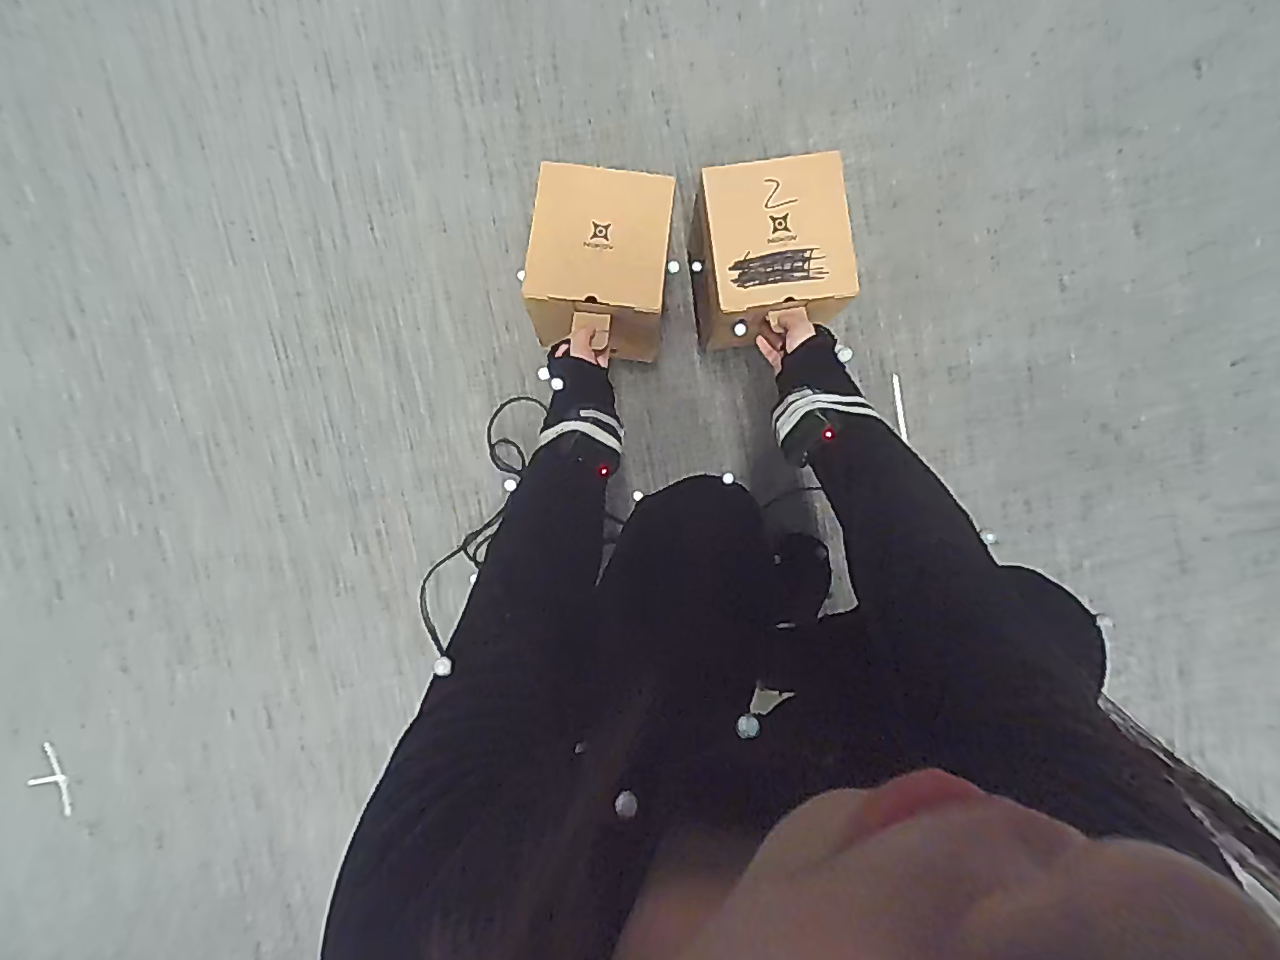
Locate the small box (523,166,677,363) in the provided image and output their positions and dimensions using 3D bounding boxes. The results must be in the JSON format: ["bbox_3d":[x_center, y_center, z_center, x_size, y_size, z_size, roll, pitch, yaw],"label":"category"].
[{"bbox_3d":[-0.049,-0.276,0.725,0.168,0.176,0.179,8,83,0],"label":"small box"}]
